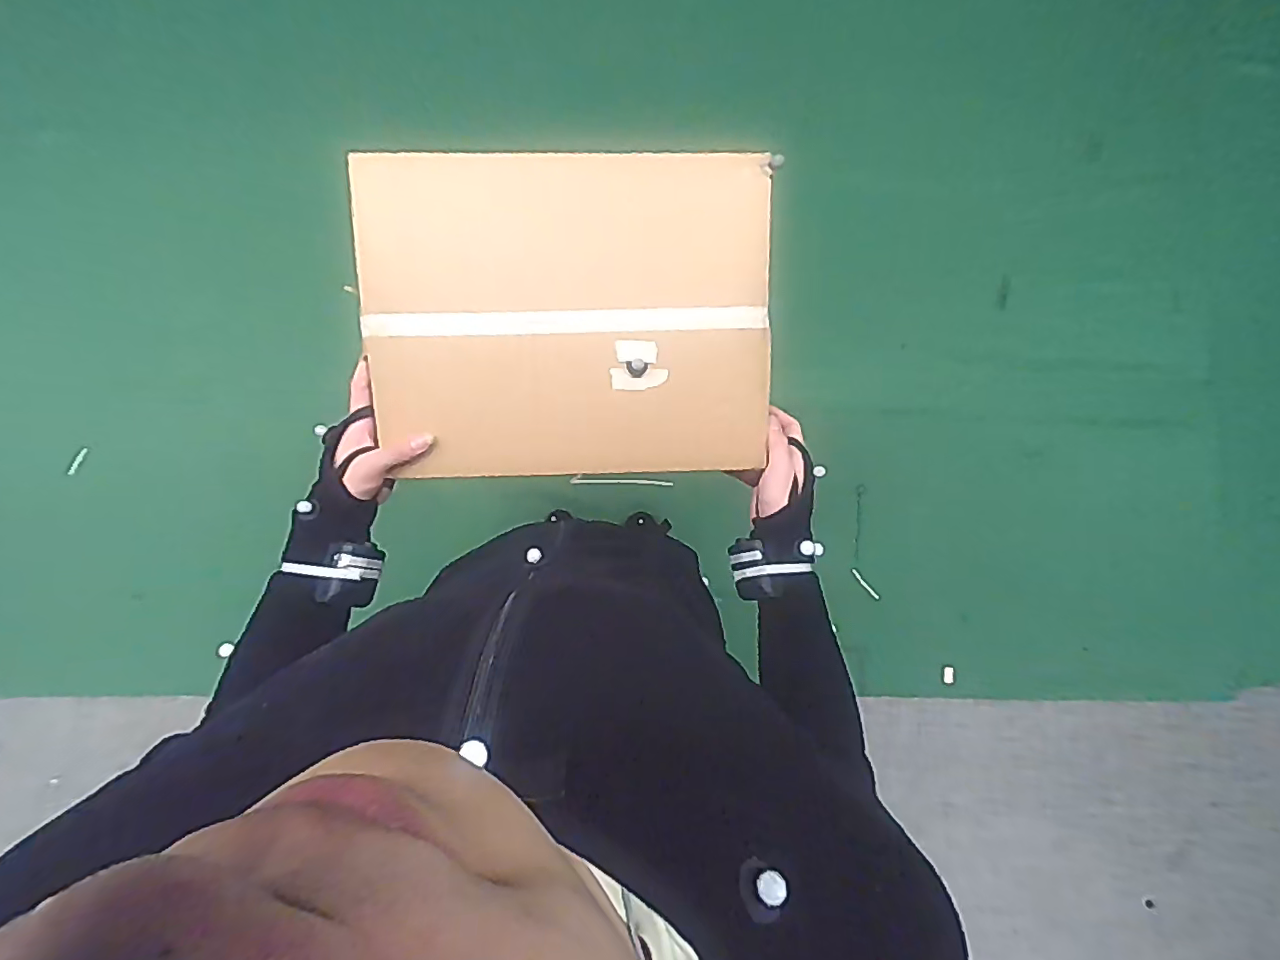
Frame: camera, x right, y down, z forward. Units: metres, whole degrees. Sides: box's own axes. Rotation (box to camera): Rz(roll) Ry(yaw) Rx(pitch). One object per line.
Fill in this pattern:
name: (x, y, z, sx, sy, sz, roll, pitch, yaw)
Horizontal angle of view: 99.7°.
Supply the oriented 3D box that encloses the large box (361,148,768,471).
large box: (-0.076, -0.195, 0.698, 0.408, 0.320, 0.320, -2, 101, -3)
